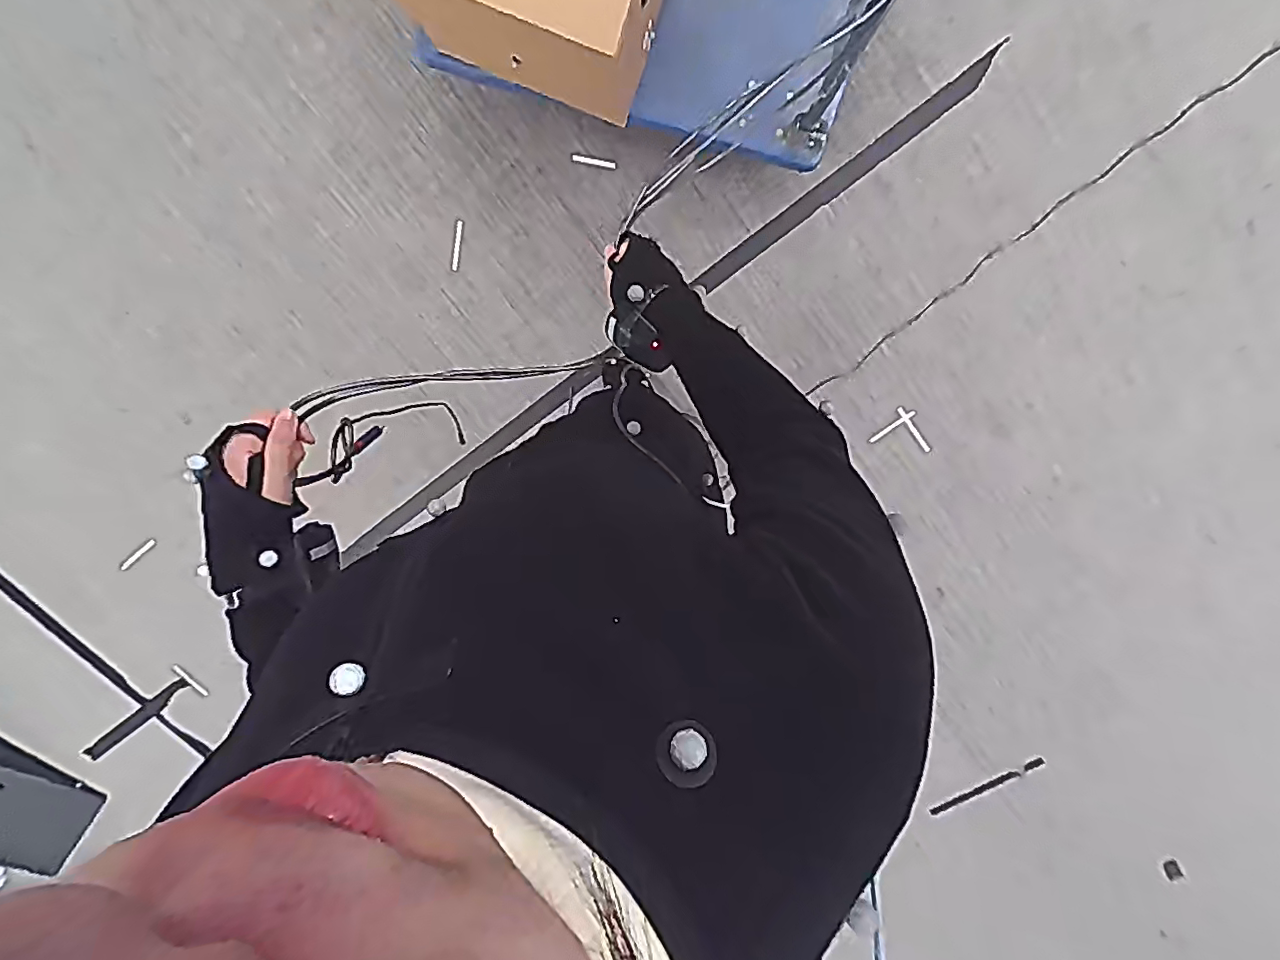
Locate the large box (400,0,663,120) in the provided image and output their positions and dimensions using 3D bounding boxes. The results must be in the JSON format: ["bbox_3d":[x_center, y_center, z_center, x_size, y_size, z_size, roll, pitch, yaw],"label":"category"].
[{"bbox_3d":[-0.168,-0.890,0.917,0.408,0.320,0.320,19,105,-4],"label":"large box"}]
